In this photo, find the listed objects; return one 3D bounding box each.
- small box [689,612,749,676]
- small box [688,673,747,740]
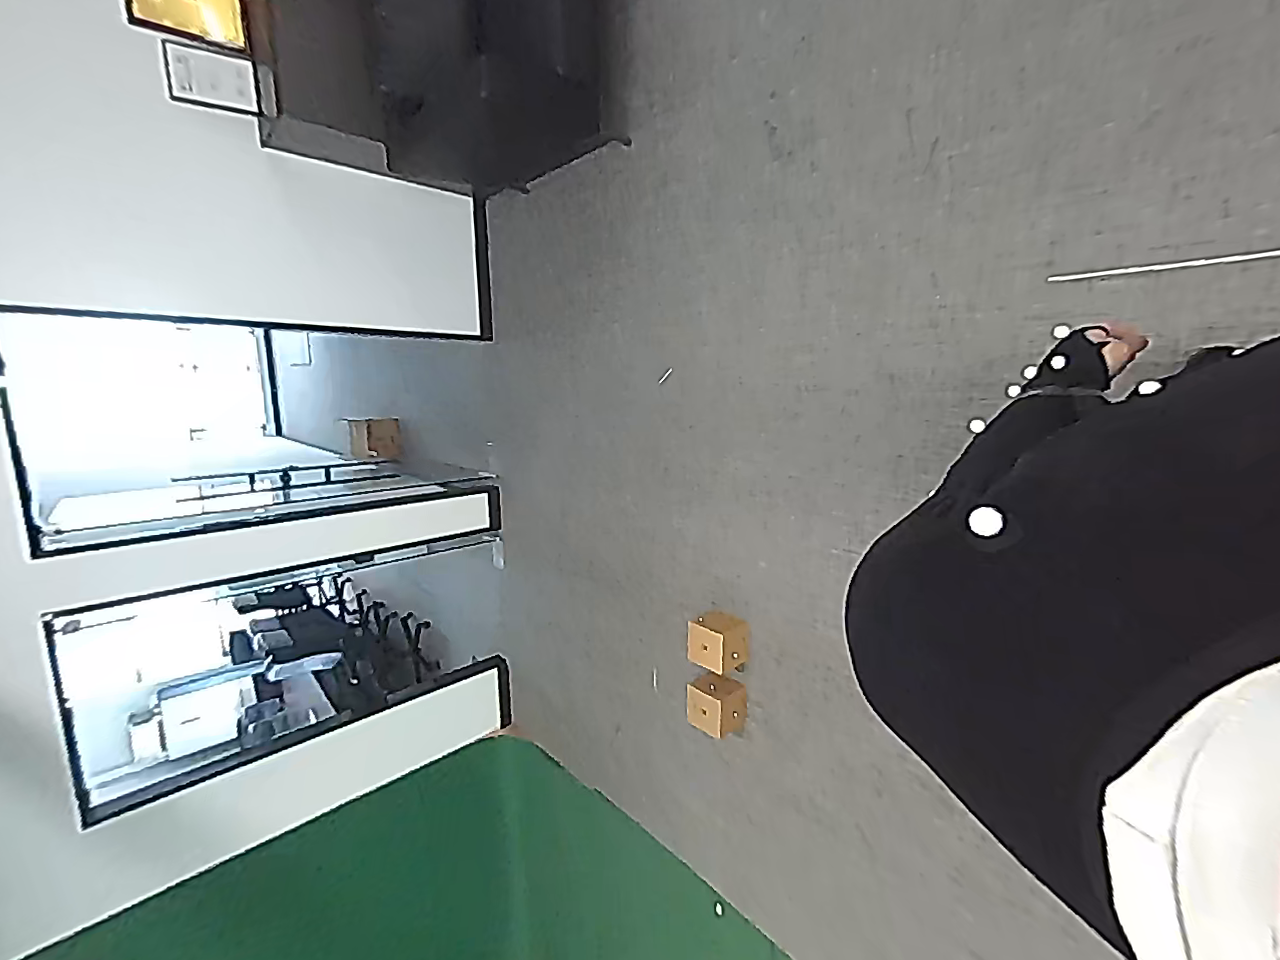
[{"bbox_3d":[0.314,0.638,2.134,0.179,0.176,0.168,10,105,46],"label":"small box"},{"bbox_3d":[0.314,0.902,2.175,0.179,0.176,0.168,11,104,46],"label":"small box"}]
